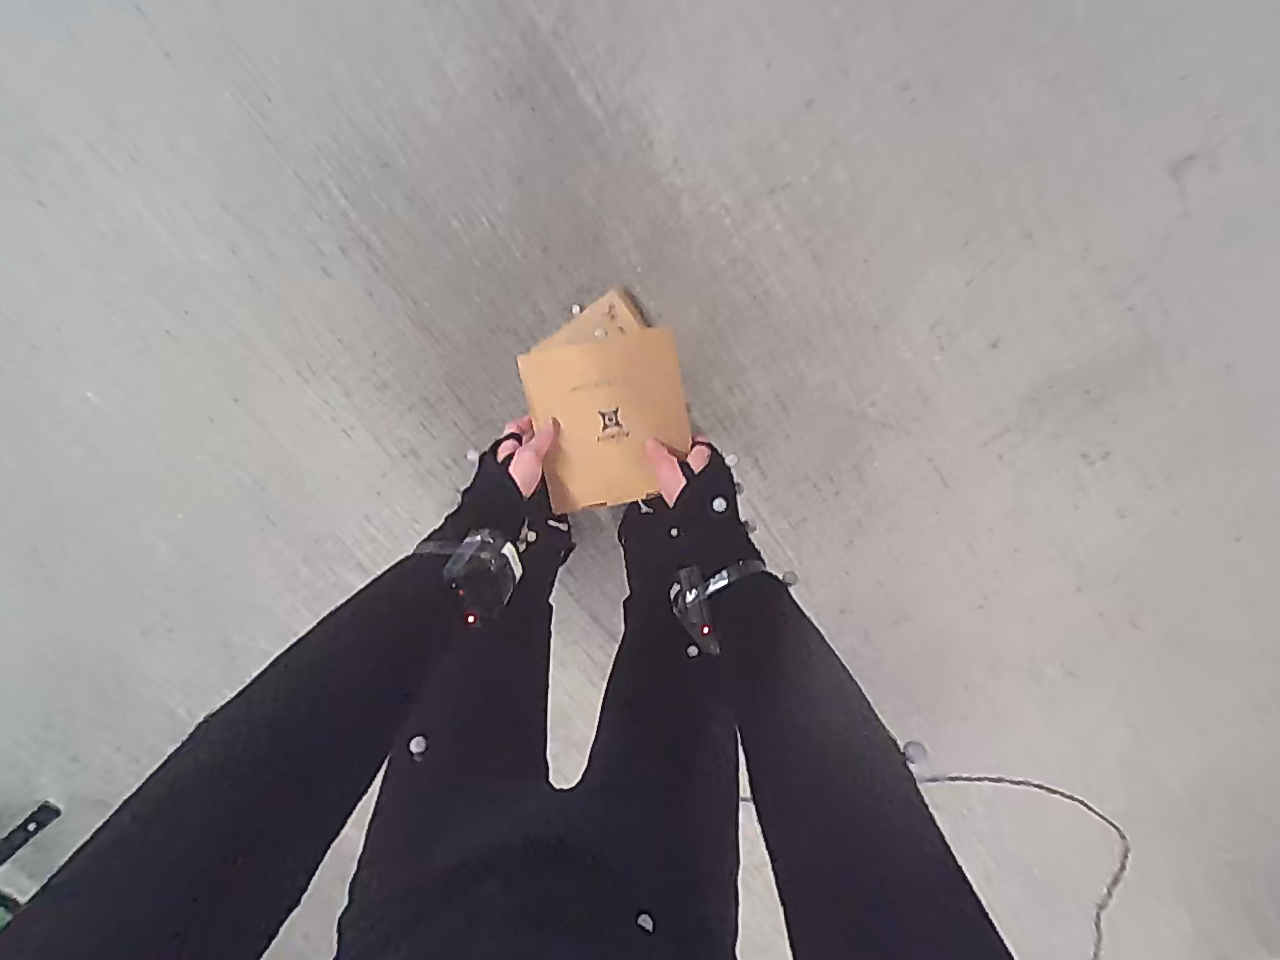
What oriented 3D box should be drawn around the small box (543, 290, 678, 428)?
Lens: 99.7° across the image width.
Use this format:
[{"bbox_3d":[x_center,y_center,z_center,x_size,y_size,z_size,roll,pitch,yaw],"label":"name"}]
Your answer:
[{"bbox_3d":[-0.045,-0.223,0.982,0.179,0.176,0.168,-34,105,12],"label":"small box"}]
